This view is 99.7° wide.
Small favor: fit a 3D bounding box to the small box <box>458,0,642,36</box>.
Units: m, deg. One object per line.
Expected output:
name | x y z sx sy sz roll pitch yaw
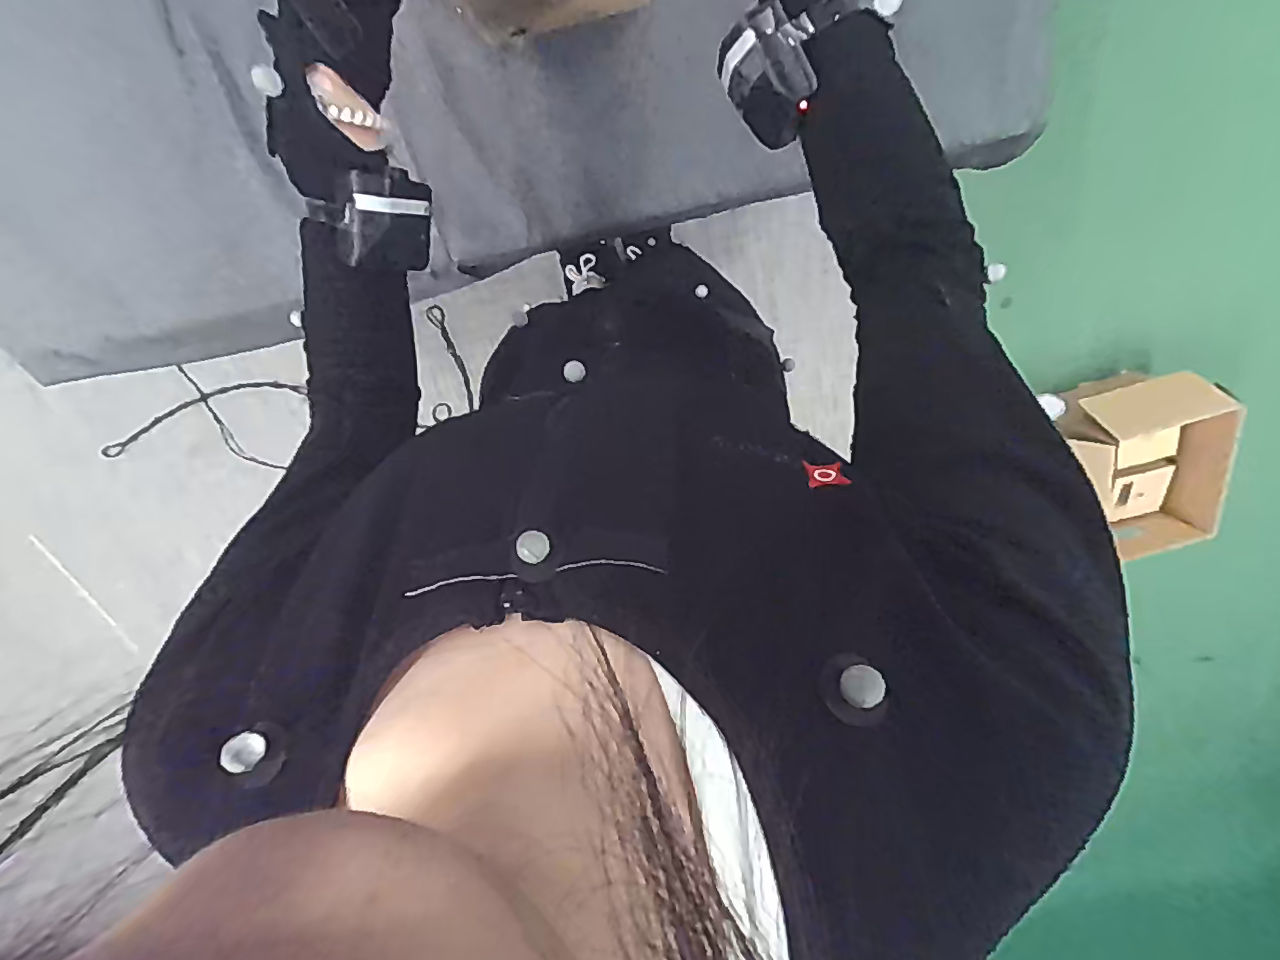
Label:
small box | -0.082 -0.489 0.429 0.168 0.176 0.179 -13 117 2
